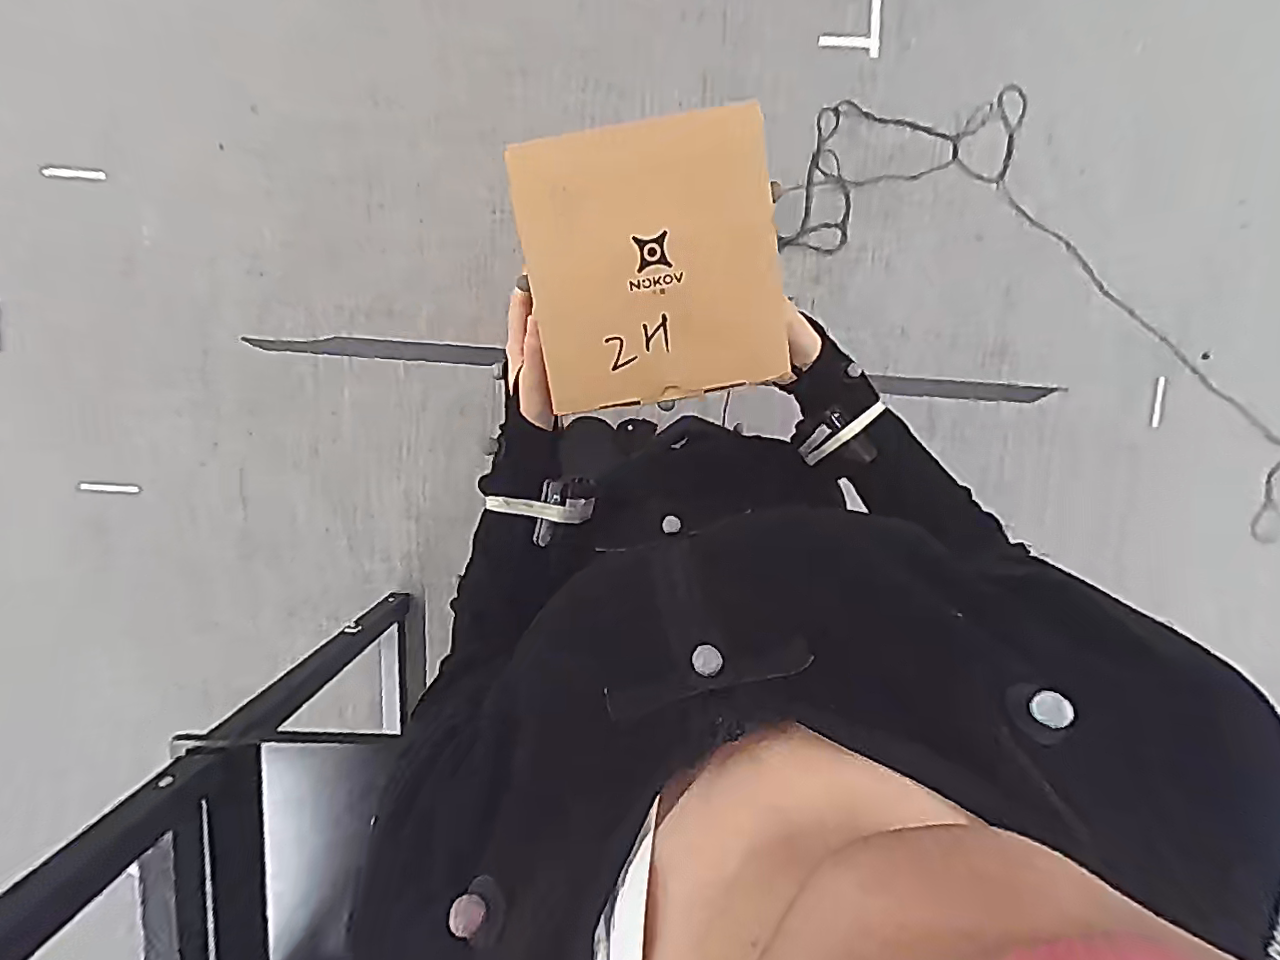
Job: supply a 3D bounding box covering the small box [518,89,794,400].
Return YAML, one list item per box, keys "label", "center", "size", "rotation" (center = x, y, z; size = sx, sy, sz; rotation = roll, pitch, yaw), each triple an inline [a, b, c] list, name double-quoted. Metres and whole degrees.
- label: "small box"
  center: [0.013, -0.164, 0.432]
  size: [0.168, 0.176, 0.179]
  rotation: [-8, 102, 2]
